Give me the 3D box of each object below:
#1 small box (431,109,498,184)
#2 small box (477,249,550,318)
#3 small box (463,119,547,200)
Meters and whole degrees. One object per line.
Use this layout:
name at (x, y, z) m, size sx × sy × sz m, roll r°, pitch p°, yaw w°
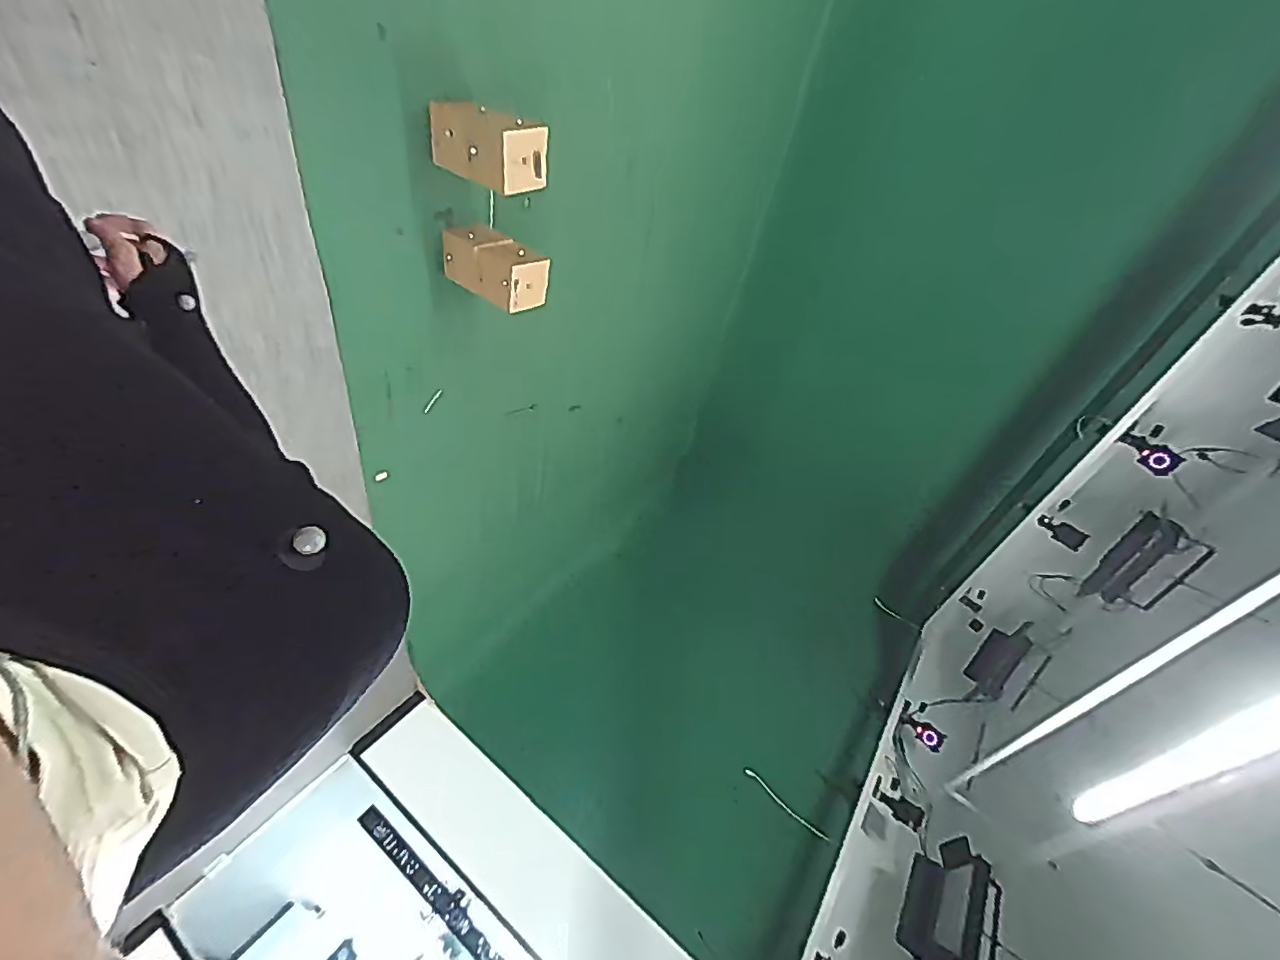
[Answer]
small box at (-0.528, -1.035, 1.676) m, size 0.179 × 0.176 × 0.168 m, roll -39°, pitch 152°, yaw -43°
small box at (-0.443, -0.692, 1.884) m, size 0.179 × 0.176 × 0.168 m, roll -36°, pitch 151°, yaw -45°
small box at (-0.400, -0.956, 1.607) m, size 0.179 × 0.176 × 0.168 m, roll -38°, pitch 151°, yaw -39°
